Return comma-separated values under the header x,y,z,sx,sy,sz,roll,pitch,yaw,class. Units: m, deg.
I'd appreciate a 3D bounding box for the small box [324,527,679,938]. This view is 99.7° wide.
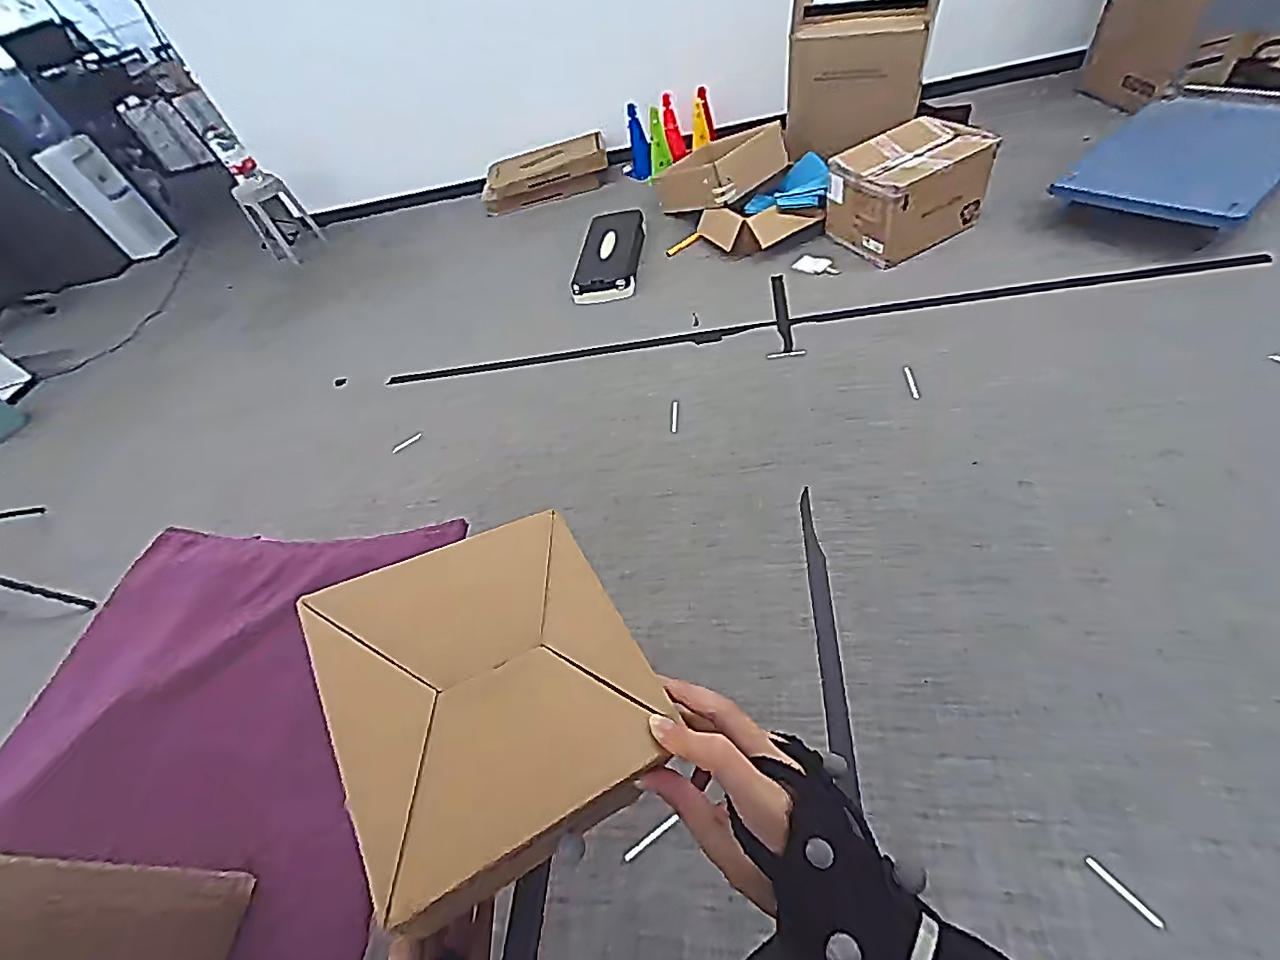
x,y,z,sx,sy,sz,roll,pitch,yaw,class
-0.094,0.161,0.368,0.168,0.176,0.179,-20,57,-27,small box
